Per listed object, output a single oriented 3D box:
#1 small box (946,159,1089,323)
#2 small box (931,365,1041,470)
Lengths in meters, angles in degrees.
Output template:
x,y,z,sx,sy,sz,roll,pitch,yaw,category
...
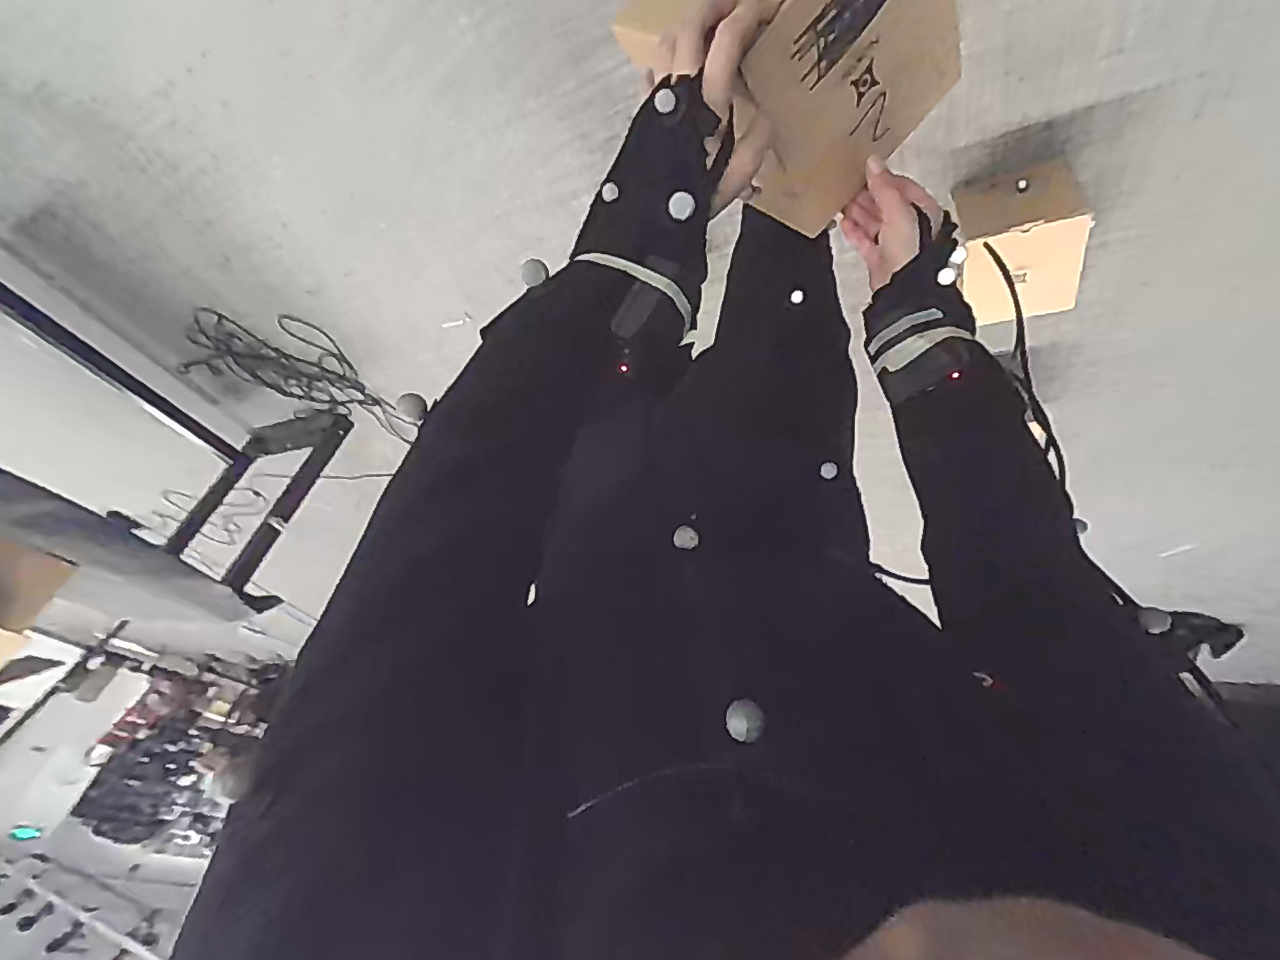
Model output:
x,y,z,sx,sy,sz,roll,pitch,yaw,category
0.629,-0.403,0.923,0.168,0.176,0.179,-6,140,25,small box
0.774,-0.141,1.233,0.179,0.176,0.168,-4,143,21,small box
